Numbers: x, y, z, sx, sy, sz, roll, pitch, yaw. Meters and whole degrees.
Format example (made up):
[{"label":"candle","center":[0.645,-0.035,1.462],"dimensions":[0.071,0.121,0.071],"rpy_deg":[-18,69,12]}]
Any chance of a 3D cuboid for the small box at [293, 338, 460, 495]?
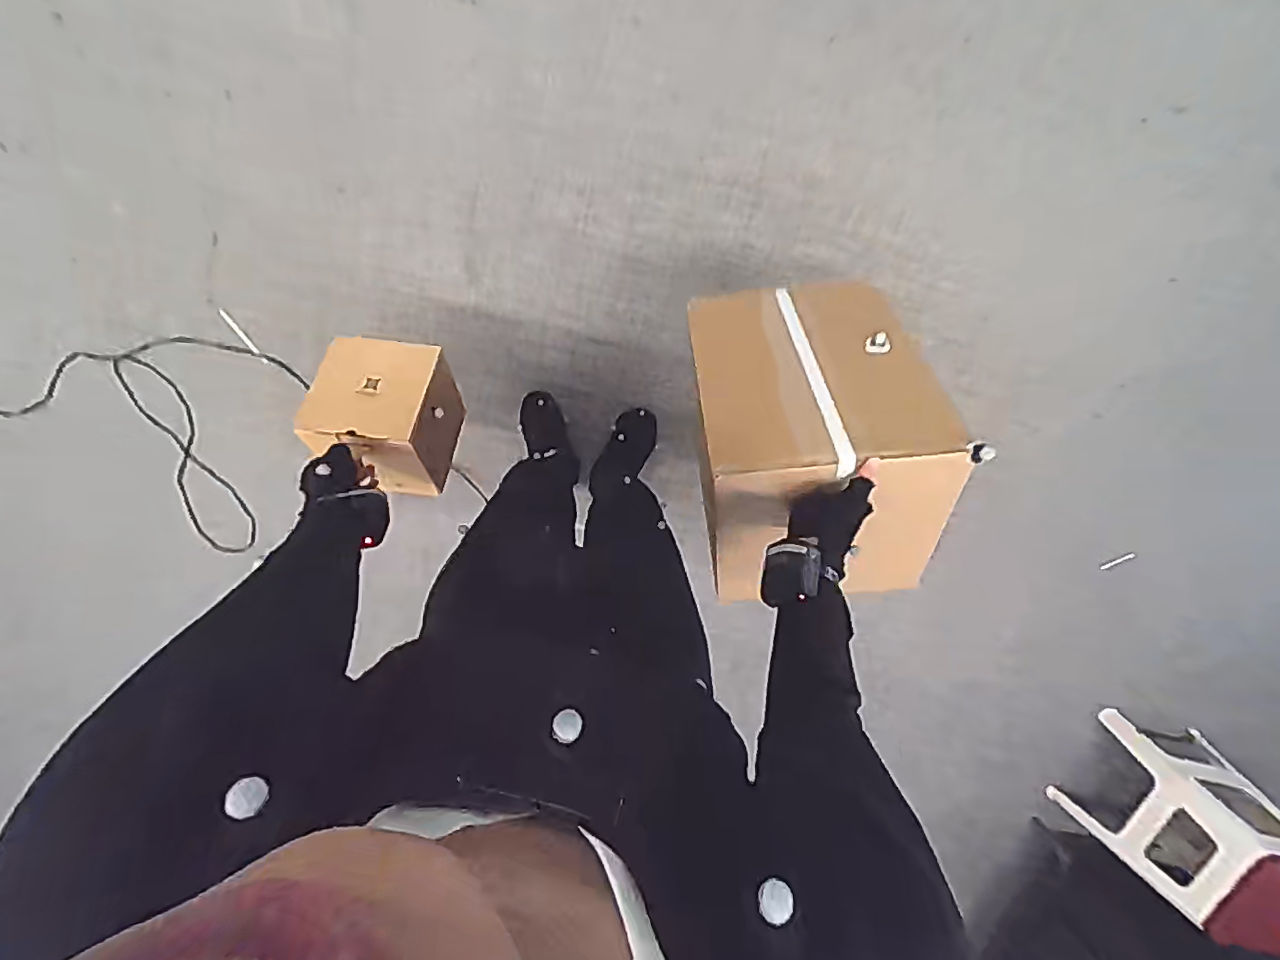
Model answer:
[{"label":"small box","center":[-0.398,-0.096,0.858],"dimensions":[0.168,0.176,0.179],"rpy_deg":[5,64,0]}]
